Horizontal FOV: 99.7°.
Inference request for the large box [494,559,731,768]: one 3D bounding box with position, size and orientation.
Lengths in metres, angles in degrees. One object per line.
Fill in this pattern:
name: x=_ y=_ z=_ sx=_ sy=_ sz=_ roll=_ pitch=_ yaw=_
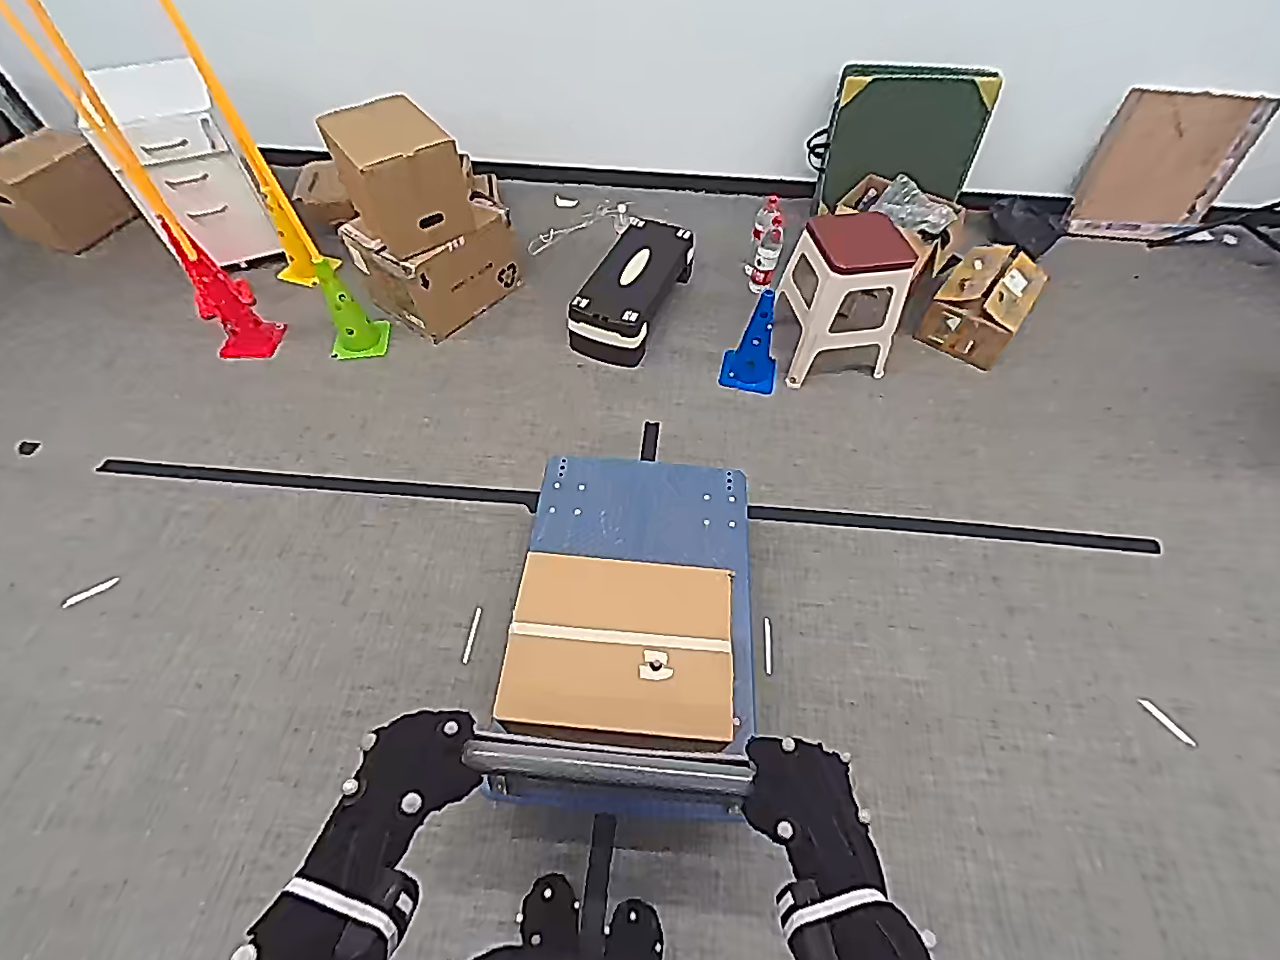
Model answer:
large box: x=-0.046 y=0.380 z=1.098 sx=0.408 sy=0.320 sz=0.320 roll=6 pitch=56 yaw=0
